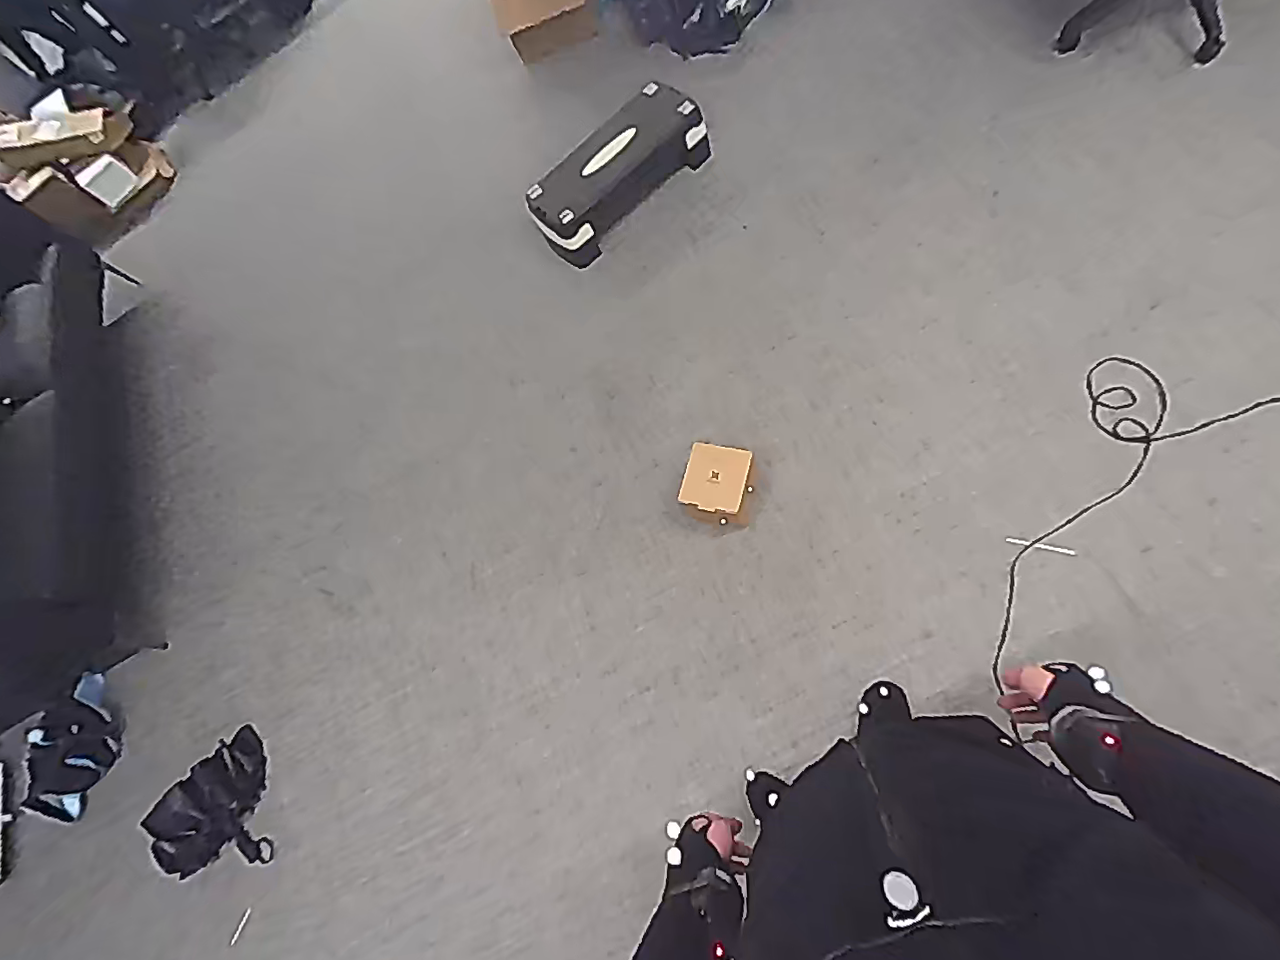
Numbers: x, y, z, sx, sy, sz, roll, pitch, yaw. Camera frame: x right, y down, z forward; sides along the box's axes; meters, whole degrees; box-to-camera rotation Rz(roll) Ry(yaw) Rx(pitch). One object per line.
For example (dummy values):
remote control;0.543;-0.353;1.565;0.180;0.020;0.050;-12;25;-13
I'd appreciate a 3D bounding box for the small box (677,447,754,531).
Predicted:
small box;0.217;0.031;1.505;0.168;0.176;0.179;11;73;20
